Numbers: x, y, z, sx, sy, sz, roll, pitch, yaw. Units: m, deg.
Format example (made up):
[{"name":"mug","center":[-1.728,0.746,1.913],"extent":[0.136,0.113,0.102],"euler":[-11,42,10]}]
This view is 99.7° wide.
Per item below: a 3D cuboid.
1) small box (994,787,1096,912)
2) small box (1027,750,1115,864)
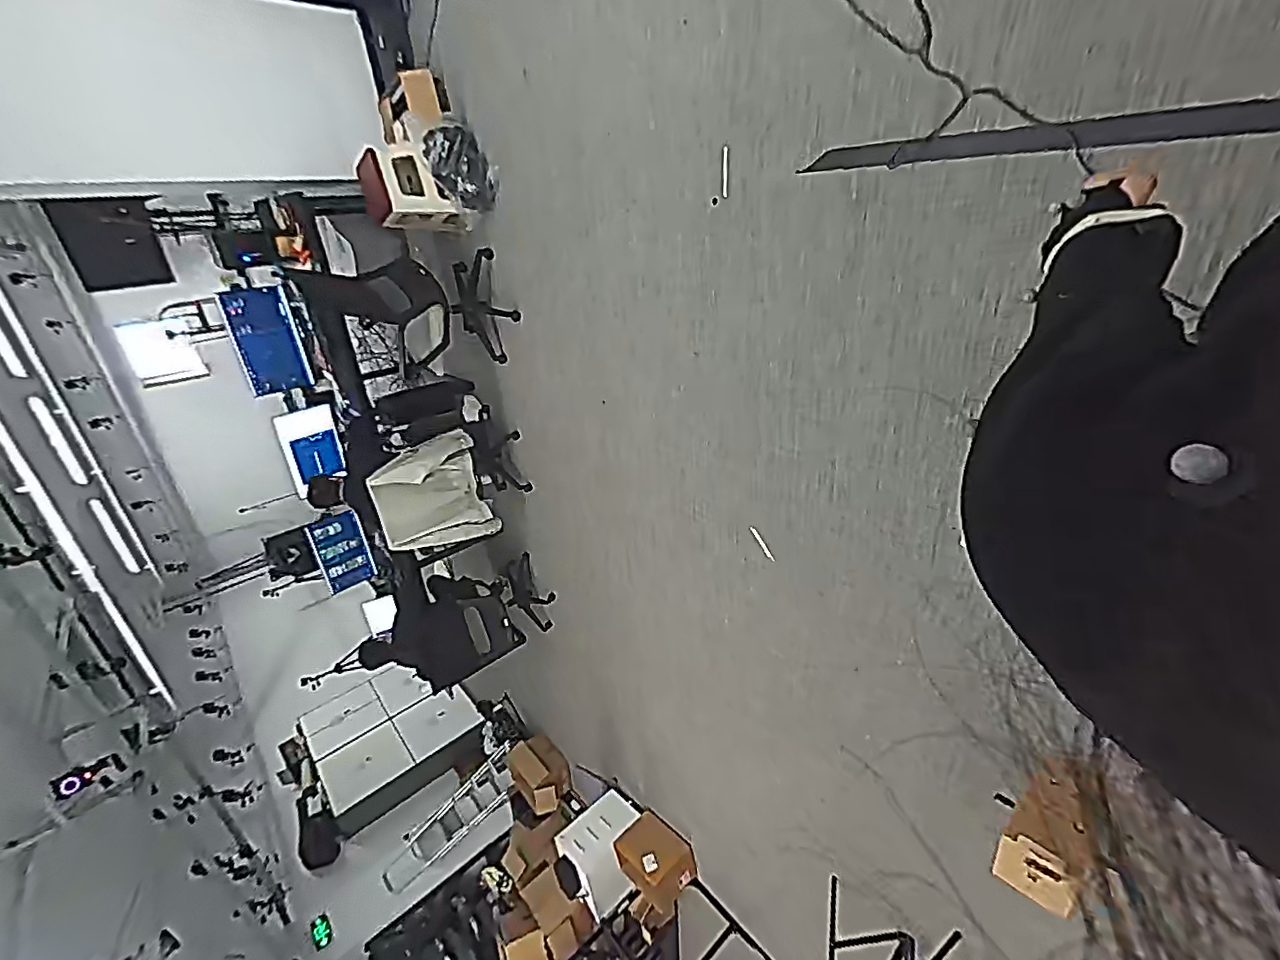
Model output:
[{"name":"small box","center":[1.066,0.960,1.423],"extent":[0.168,0.176,0.179],"euler":[21,127,46]},{"name":"small box","center":[1.193,0.905,1.513],"extent":[0.168,0.176,0.179],"euler":[20,127,47]}]
